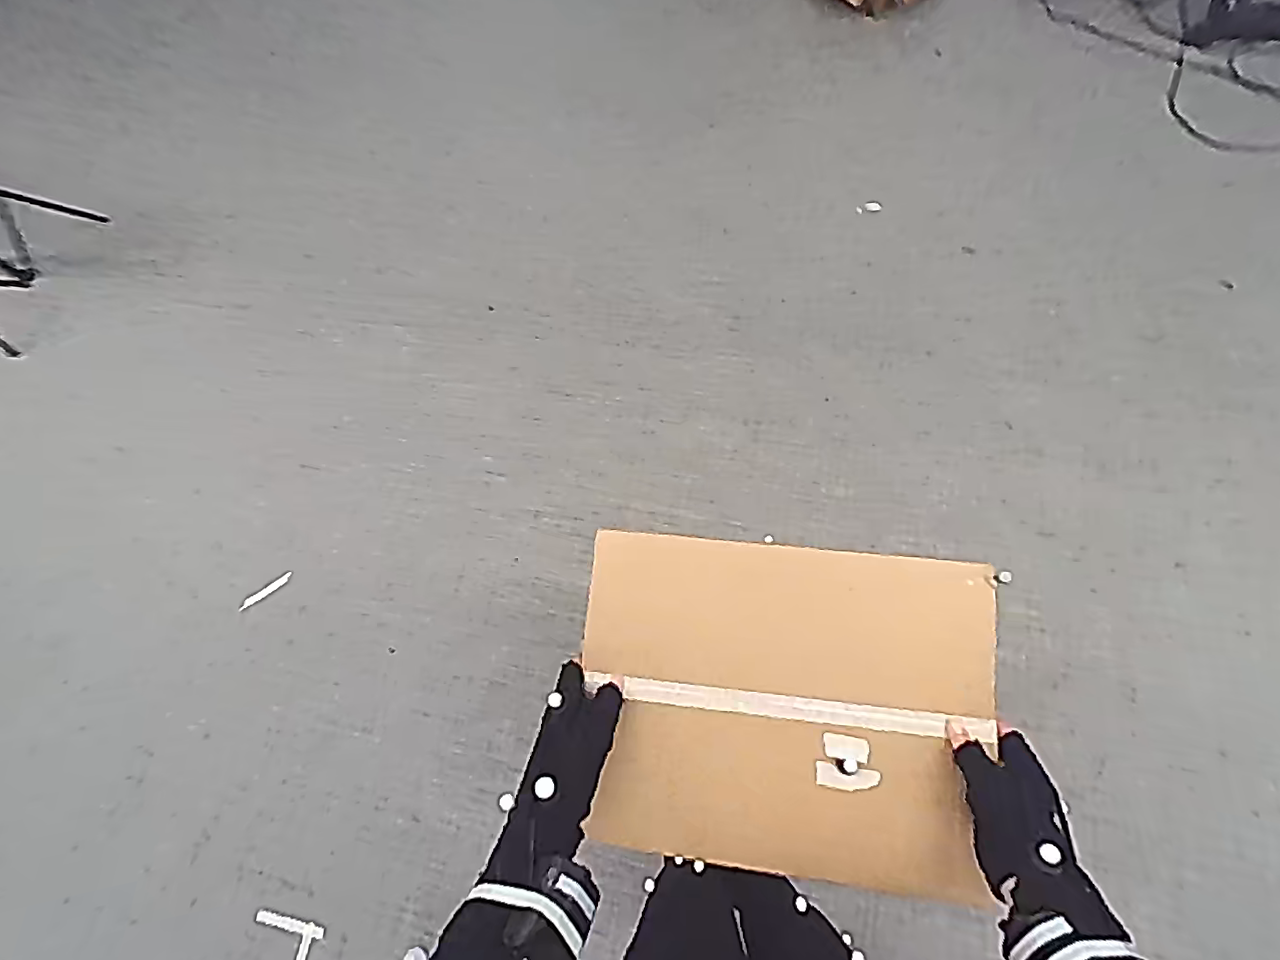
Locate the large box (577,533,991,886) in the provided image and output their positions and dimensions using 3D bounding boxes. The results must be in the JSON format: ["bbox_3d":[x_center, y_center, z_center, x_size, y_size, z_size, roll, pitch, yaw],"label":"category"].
[{"bbox_3d":[0.154,0.239,0.691,0.408,0.320,0.320,4,84,6],"label":"large box"}]
